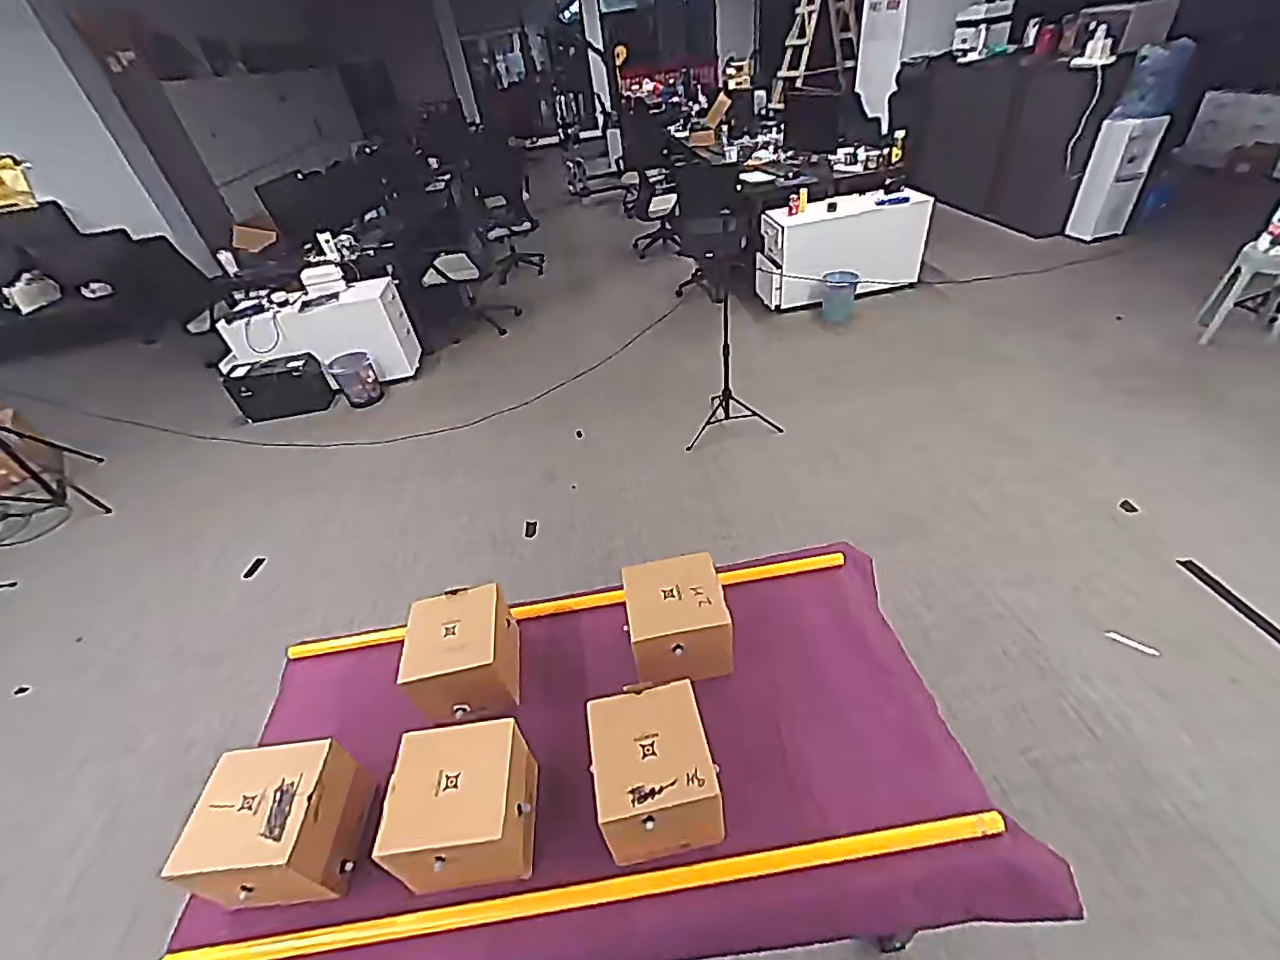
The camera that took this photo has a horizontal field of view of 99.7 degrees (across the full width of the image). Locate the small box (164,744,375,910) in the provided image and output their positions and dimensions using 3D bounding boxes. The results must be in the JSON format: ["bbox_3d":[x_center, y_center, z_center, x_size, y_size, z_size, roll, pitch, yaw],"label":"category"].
[{"bbox_3d":[-0.538,0.527,0.820,0.179,0.176,0.168,-7,39,2],"label":"small box"}]

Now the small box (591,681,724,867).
[{"bbox_3d":[0.025,0.441,0.817,0.168,0.176,0.179,-12,37,-3],"label":"small box"}]

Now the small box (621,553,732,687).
[{"bbox_3d":[0.069,0.267,1.018,0.179,0.176,0.168,-10,41,-1],"label":"small box"}]

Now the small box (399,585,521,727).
[{"bbox_3d":[-0.327,0.331,1.020,0.168,0.176,0.179,-12,40,-3],"label":"small box"}]

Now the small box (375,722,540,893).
[{"bbox_3d":[-0.256,0.491,0.812,0.179,0.176,0.168,-9,39,2],"label":"small box"}]
